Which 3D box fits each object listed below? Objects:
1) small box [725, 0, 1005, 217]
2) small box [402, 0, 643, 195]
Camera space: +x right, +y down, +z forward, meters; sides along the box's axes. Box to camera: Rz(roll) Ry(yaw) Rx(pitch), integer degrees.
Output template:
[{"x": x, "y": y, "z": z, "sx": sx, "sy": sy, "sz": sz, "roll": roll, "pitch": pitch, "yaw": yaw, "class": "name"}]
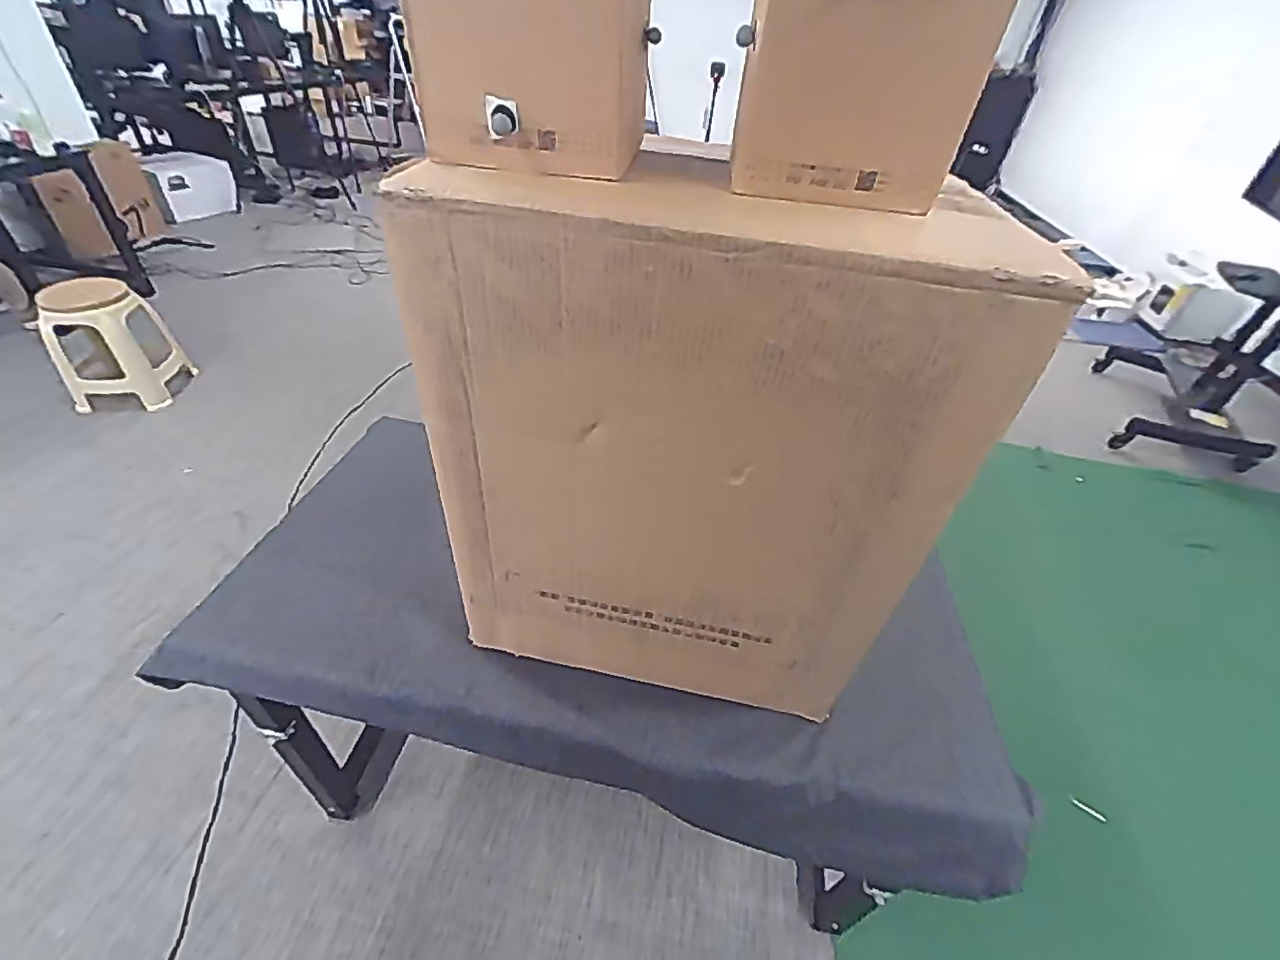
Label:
[{"x": 0.166, "y": -0.342, "z": 0.457, "sx": 0.168, "sy": 0.176, "sz": 0.179, "roll": 6, "pitch": 42, "yaw": 2, "class": "small box"}, {"x": -0.088, "y": -0.364, "z": 0.464, "sx": 0.168, "sy": 0.176, "sz": 0.179, "roll": 5, "pitch": 43, "yaw": 4, "class": "small box"}]
